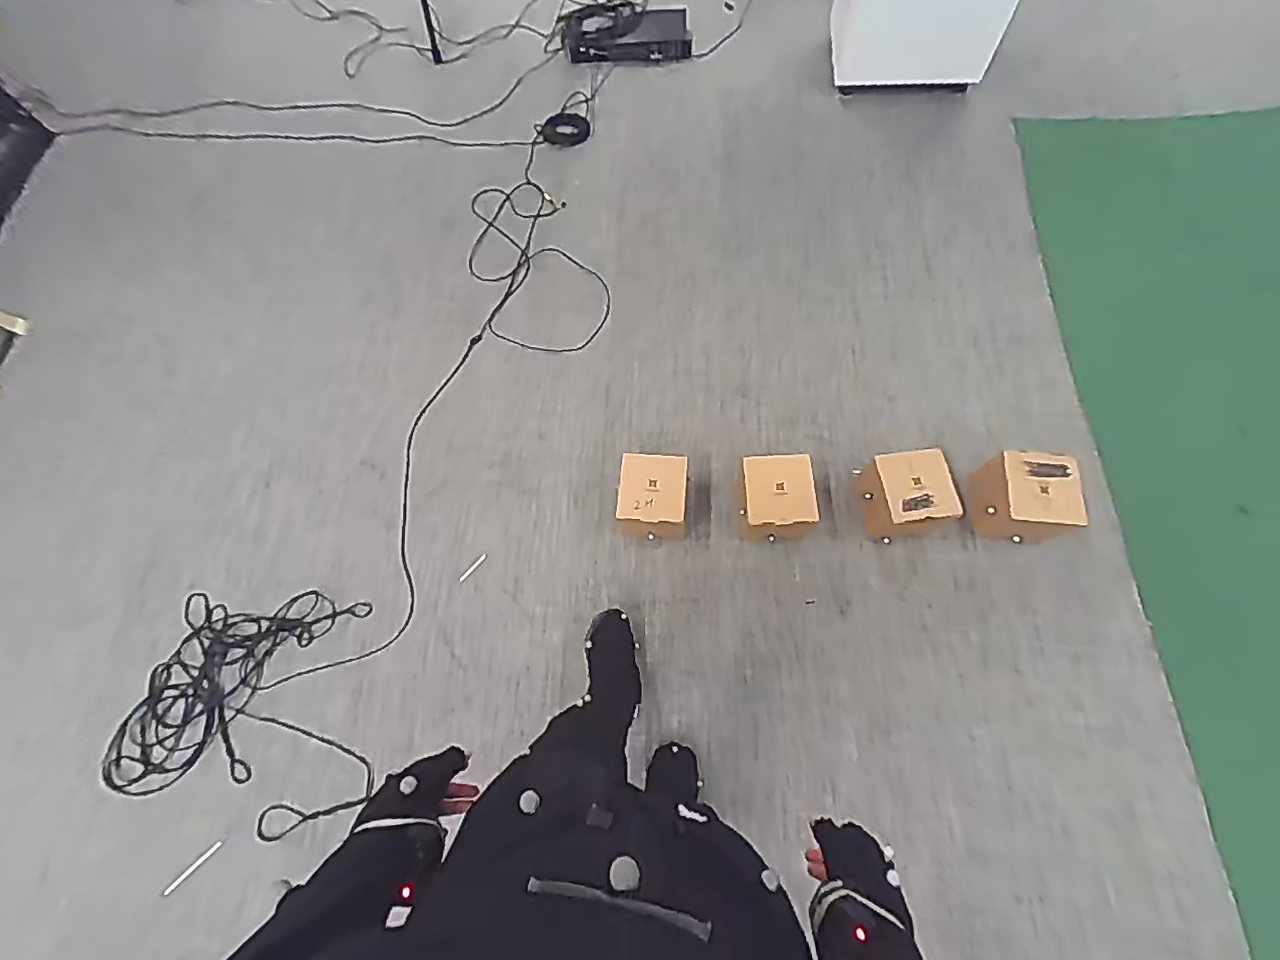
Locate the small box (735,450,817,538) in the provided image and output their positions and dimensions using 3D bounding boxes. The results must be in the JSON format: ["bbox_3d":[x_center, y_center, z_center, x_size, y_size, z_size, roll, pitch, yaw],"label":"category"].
[{"bbox_3d":[0.337,0.039,1.373,0.168,0.176,0.179,-3,69,3],"label":"small box"}]

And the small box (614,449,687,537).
[{"bbox_3d":[0.032,0.037,1.395,0.168,0.176,0.179,3,69,6],"label":"small box"}]

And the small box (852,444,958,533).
[{"bbox_3d":[0.654,0.029,1.354,0.168,0.176,0.179,-7,68,1],"label":"small box"}]
